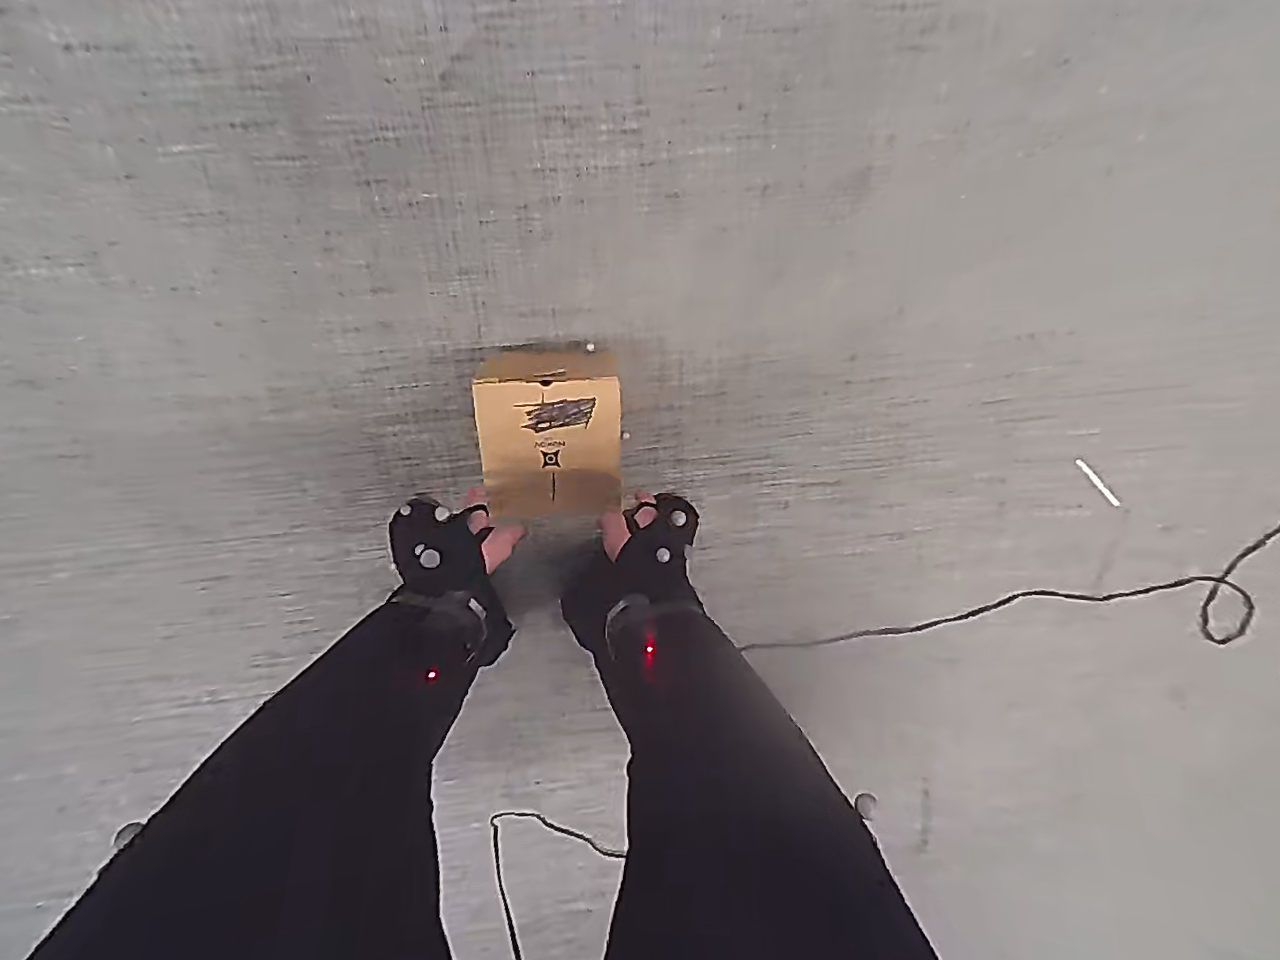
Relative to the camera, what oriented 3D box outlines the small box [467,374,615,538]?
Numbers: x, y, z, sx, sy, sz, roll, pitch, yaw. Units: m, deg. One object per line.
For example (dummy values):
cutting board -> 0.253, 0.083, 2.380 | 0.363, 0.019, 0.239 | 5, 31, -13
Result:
small box -> -0.121, -0.042, 0.719 | 0.168, 0.176, 0.179 | -3, 114, -3
